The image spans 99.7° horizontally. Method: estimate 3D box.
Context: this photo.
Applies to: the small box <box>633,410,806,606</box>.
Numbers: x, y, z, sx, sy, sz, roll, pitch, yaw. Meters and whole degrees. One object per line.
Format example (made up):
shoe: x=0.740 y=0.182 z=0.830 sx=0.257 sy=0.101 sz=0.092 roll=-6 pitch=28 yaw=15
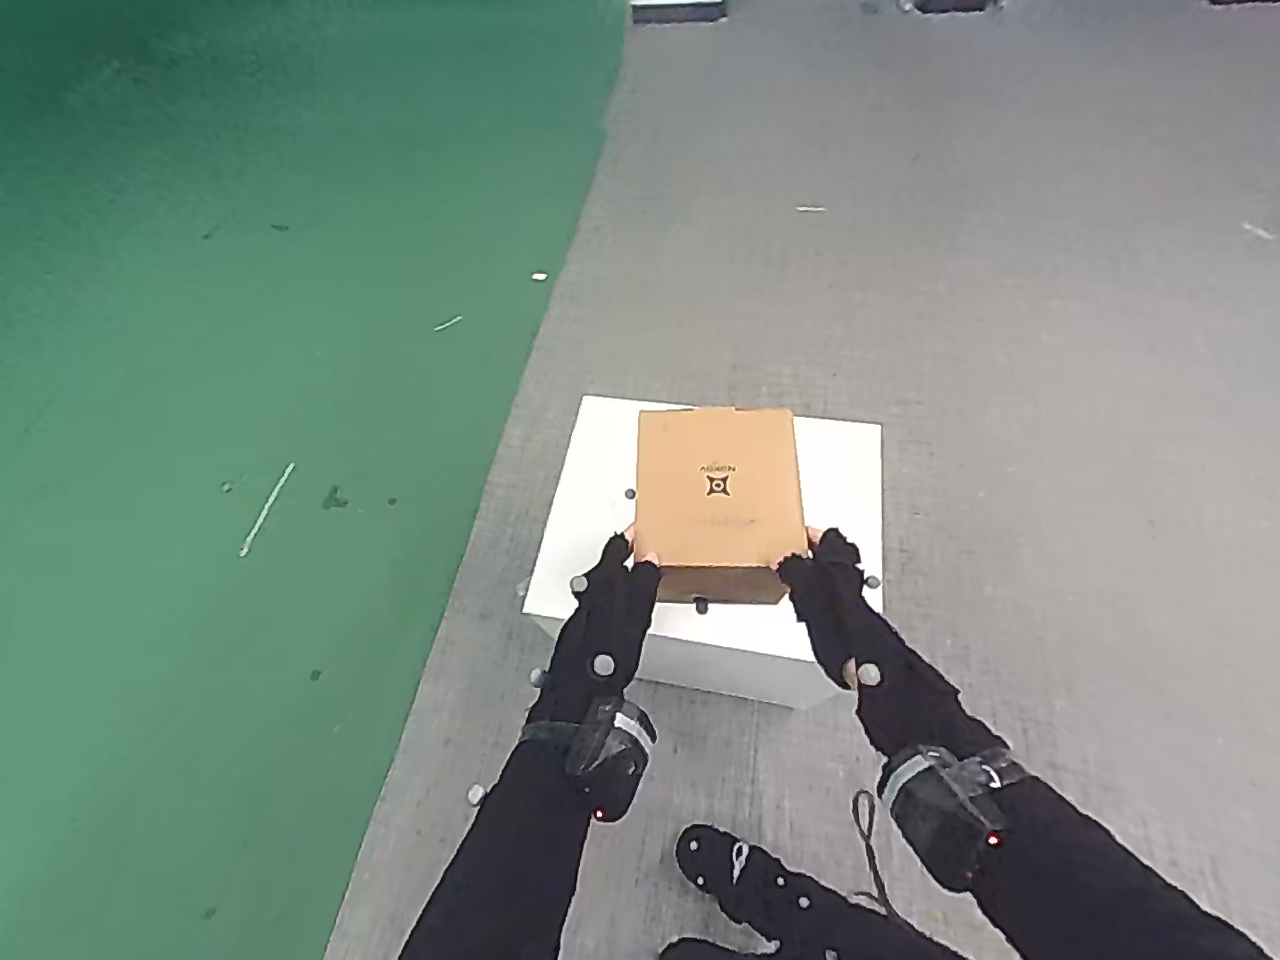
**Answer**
small box: x=0.082 y=0.037 z=0.614 sx=0.168 sy=0.176 sz=0.179 roll=0 pitch=66 yaw=5
